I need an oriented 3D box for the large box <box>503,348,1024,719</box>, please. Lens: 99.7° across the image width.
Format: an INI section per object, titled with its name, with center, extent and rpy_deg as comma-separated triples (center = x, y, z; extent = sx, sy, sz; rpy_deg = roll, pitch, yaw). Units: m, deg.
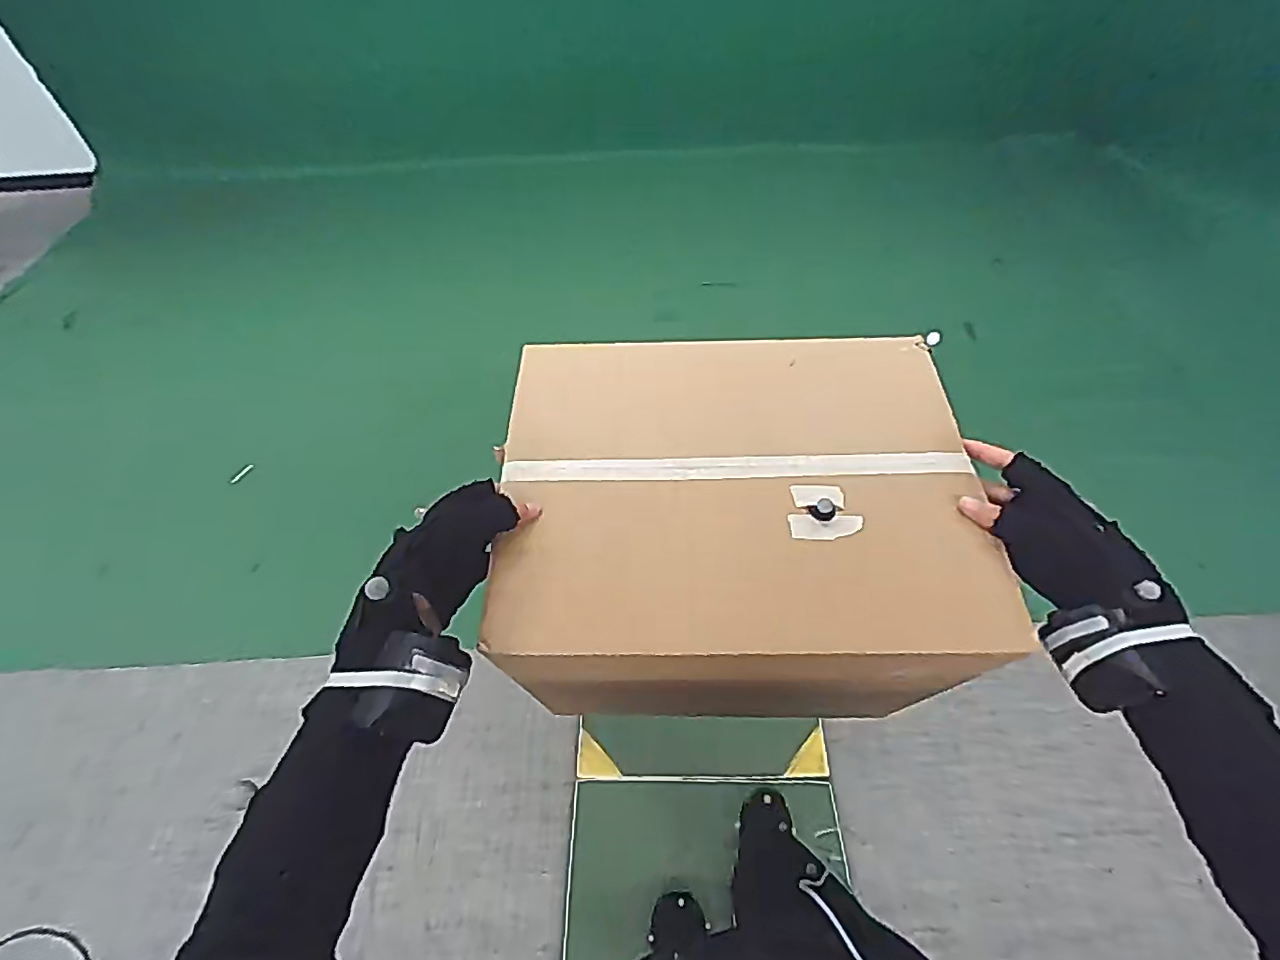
[large box]
center = 0.092, 0.076, 0.609
extent = 0.408, 0.320, 0.320
rpy_deg = -1, 58, 1
